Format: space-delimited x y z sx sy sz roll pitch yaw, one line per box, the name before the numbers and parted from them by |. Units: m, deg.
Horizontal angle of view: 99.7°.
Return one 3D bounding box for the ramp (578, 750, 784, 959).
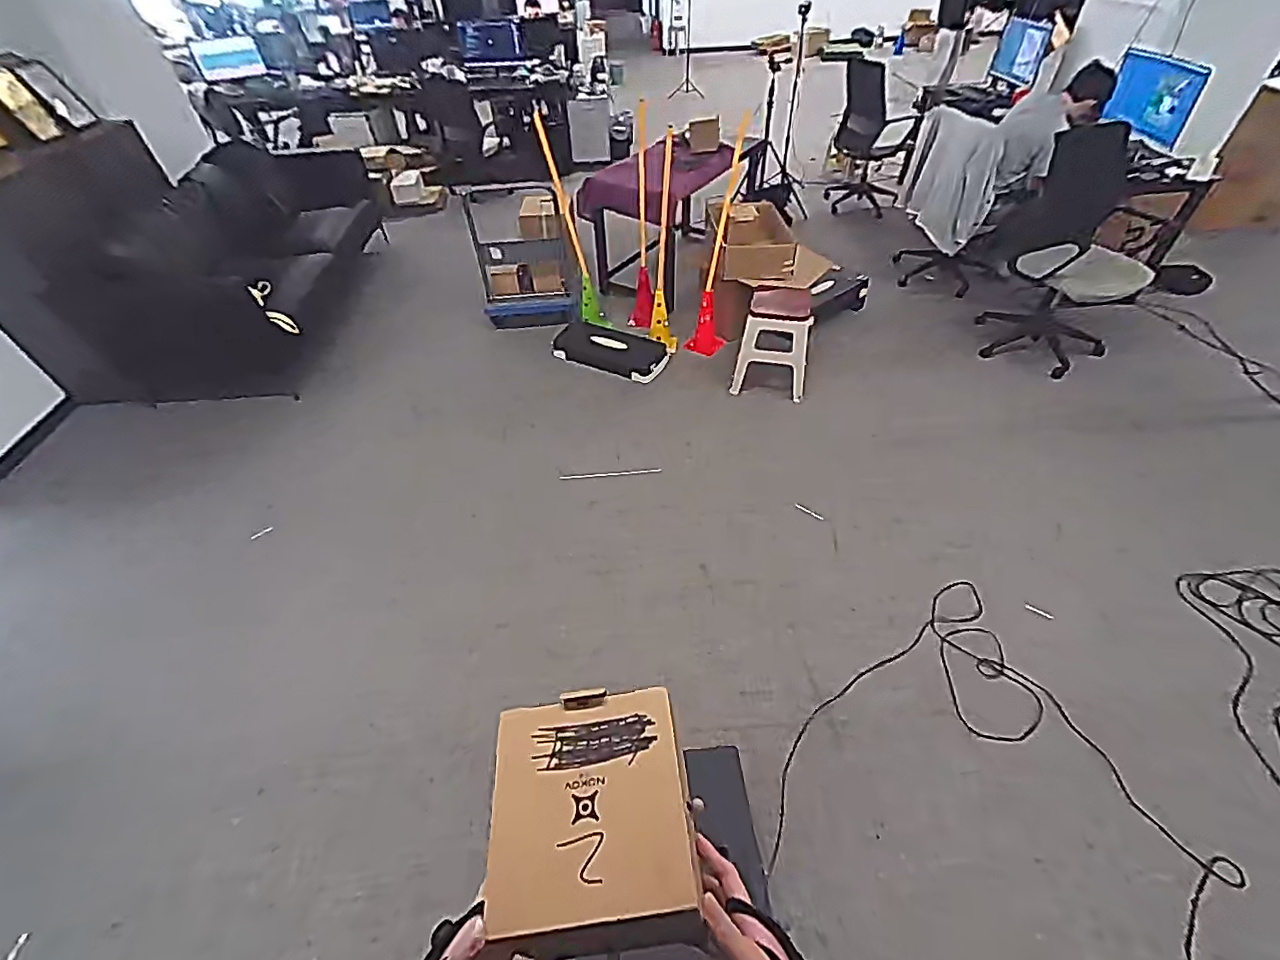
ramp | 0.095 1.150 1.273 0.509 0.206 0.991 -6 45 -1
